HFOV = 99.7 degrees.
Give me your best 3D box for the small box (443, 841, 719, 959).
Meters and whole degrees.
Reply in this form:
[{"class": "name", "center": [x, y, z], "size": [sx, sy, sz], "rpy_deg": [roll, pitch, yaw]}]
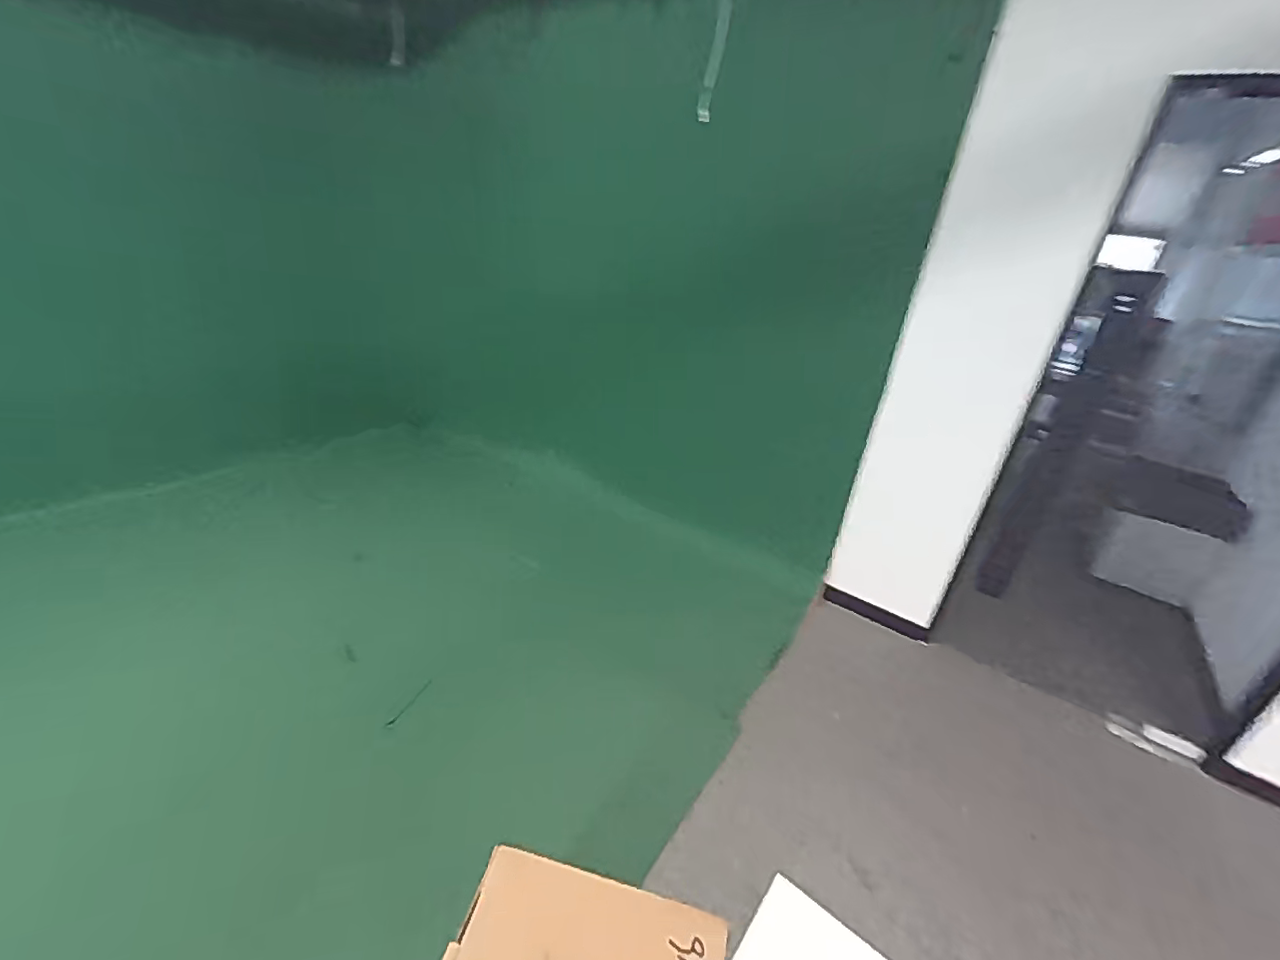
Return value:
[{"class": "small box", "center": [-0.055, 0.394, 0.372], "size": [0.179, 0.176, 0.168], "rpy_deg": [14, 36, 5]}]
